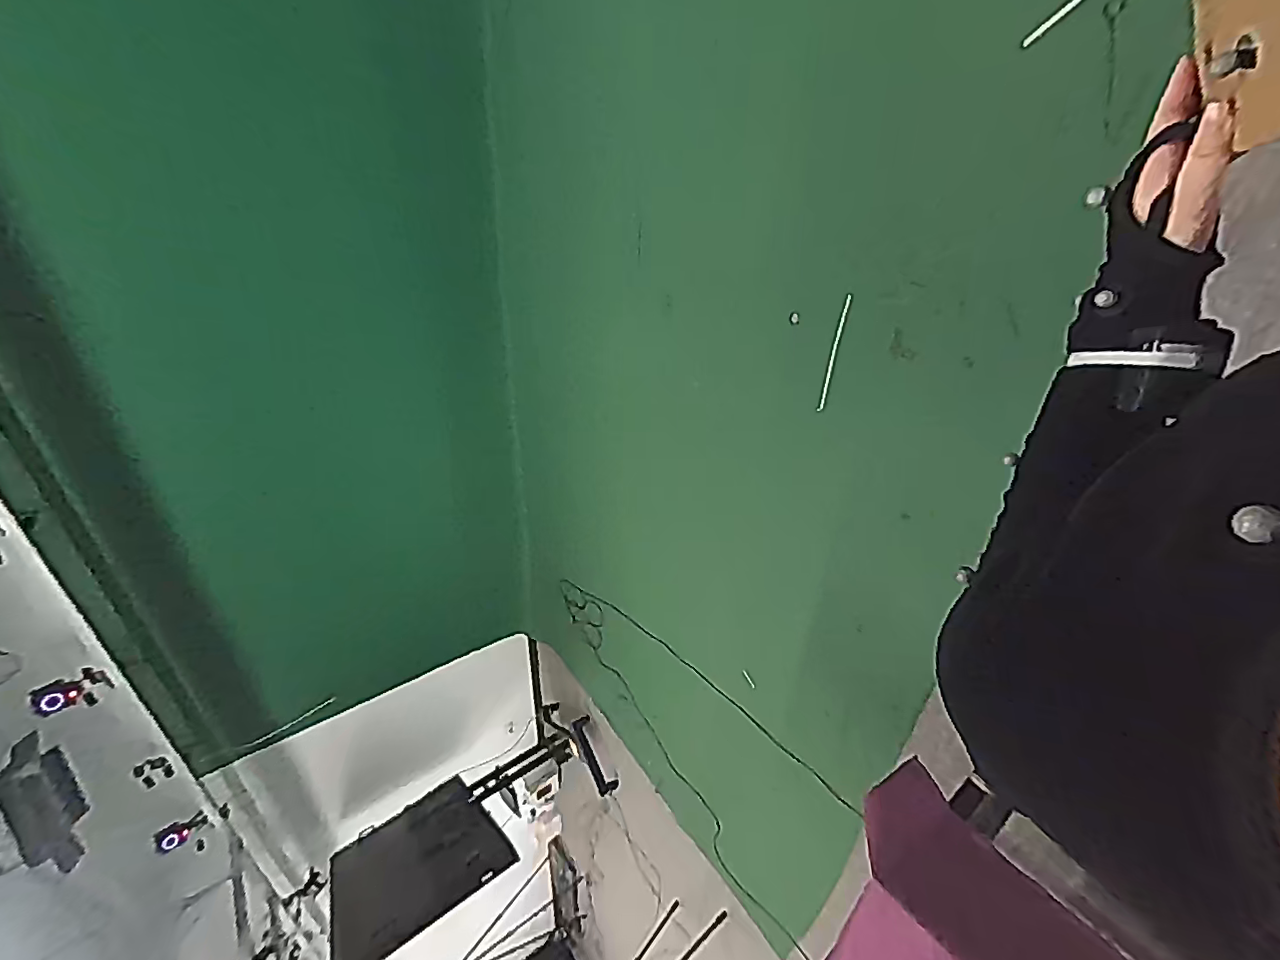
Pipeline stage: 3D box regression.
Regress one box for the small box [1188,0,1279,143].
[{"bbox_3d":[0.393,-0.284,0.251,0.179,0.176,0.168,-7,108,34],"label":"small box"}]
